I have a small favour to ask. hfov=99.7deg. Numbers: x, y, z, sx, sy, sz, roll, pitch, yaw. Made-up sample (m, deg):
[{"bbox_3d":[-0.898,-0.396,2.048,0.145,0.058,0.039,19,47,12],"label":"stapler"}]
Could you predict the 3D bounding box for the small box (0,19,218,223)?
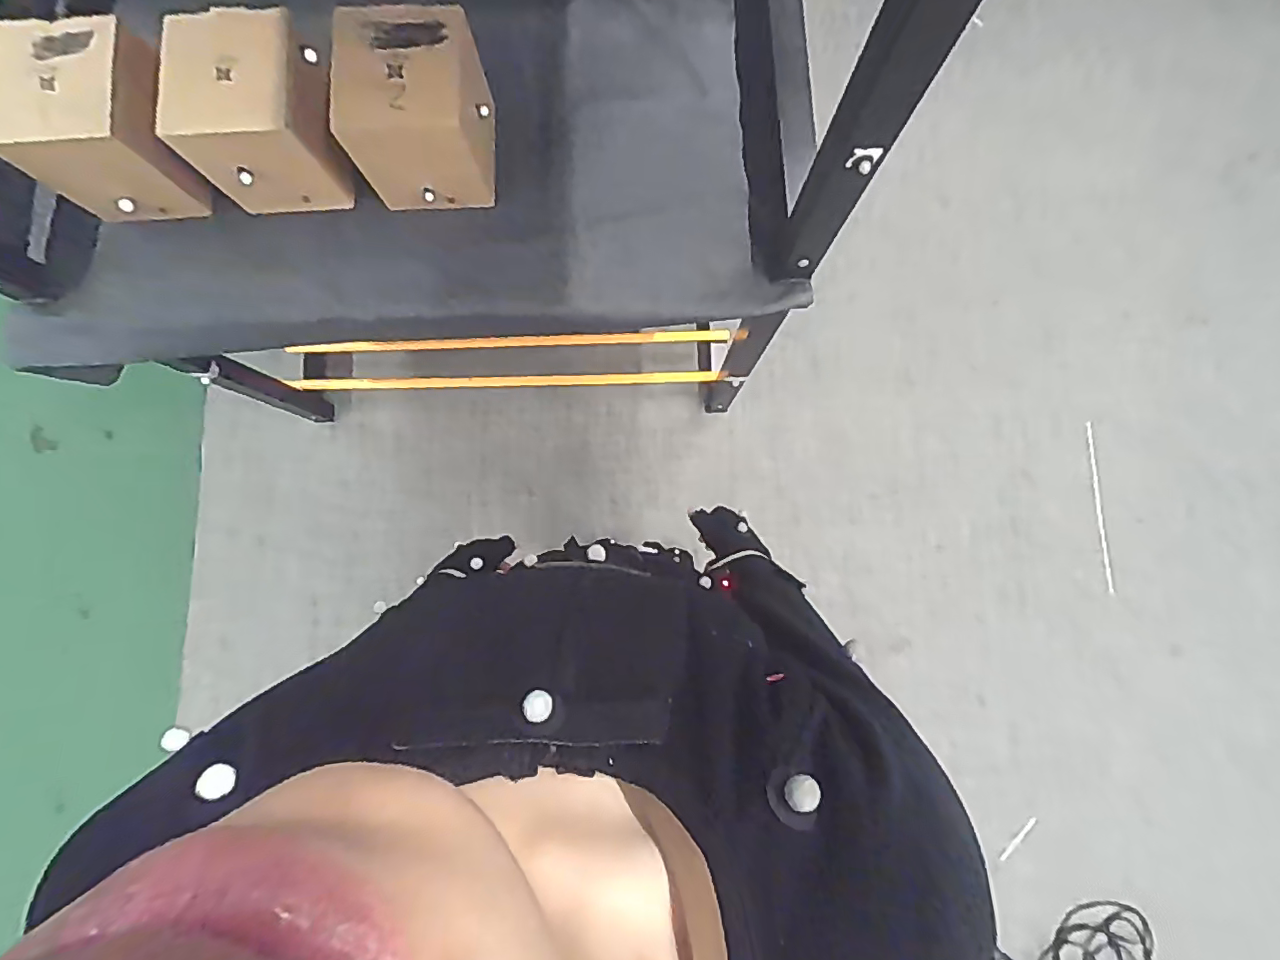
[{"bbox_3d":[-0.743,-0.497,0.768,0.168,0.176,0.179,-4,83,0],"label":"small box"}]
